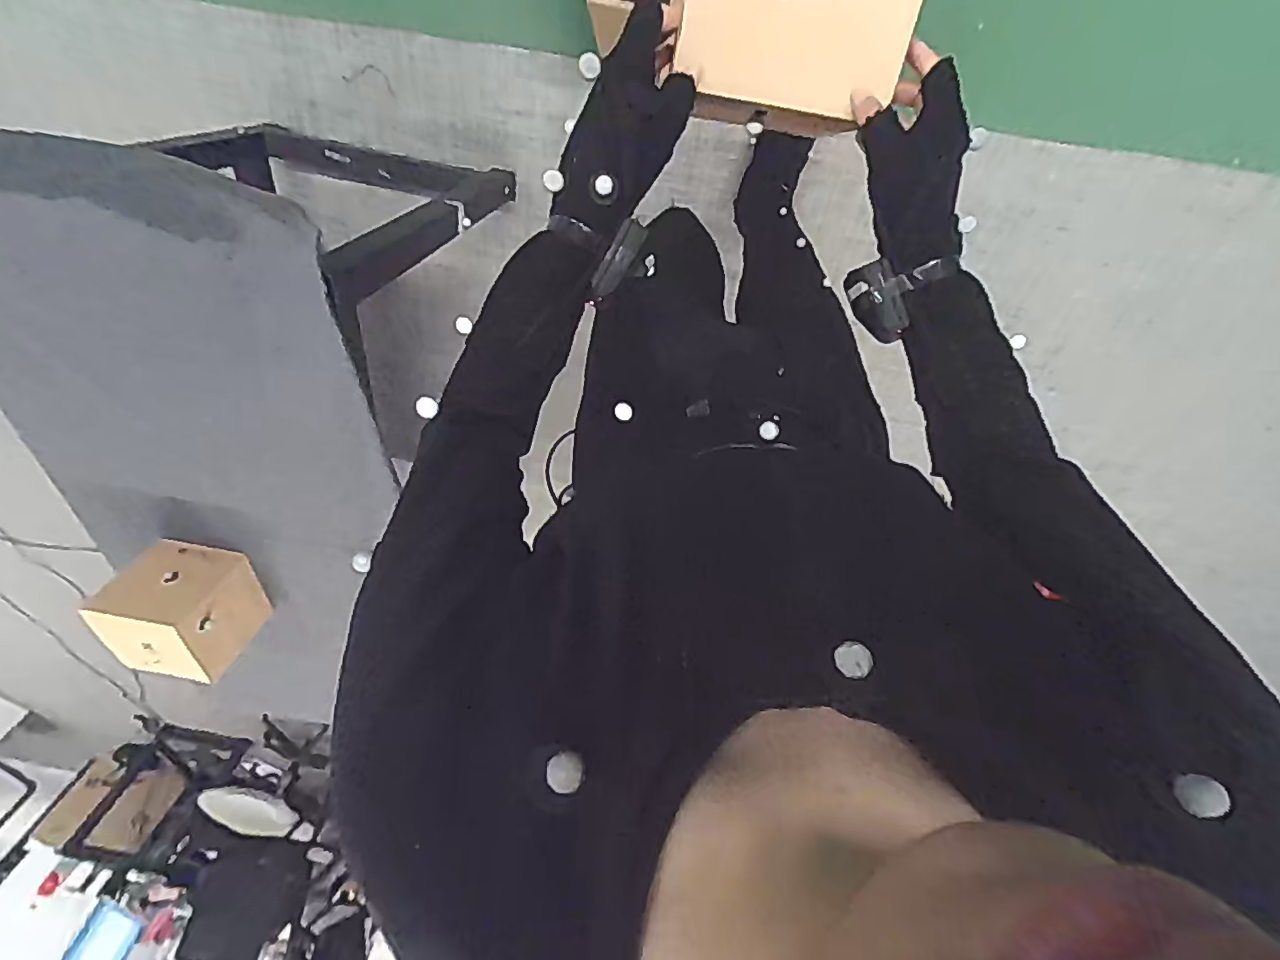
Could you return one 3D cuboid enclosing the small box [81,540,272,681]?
[{"bbox_3d":[-0.821,0.233,0.982,0.168,0.176,0.179,10,130,2],"label":"small box"}]

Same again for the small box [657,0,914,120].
[{"bbox_3d":[0.114,-0.408,0.446,0.179,0.176,0.168,7,121,-4],"label":"small box"}]
